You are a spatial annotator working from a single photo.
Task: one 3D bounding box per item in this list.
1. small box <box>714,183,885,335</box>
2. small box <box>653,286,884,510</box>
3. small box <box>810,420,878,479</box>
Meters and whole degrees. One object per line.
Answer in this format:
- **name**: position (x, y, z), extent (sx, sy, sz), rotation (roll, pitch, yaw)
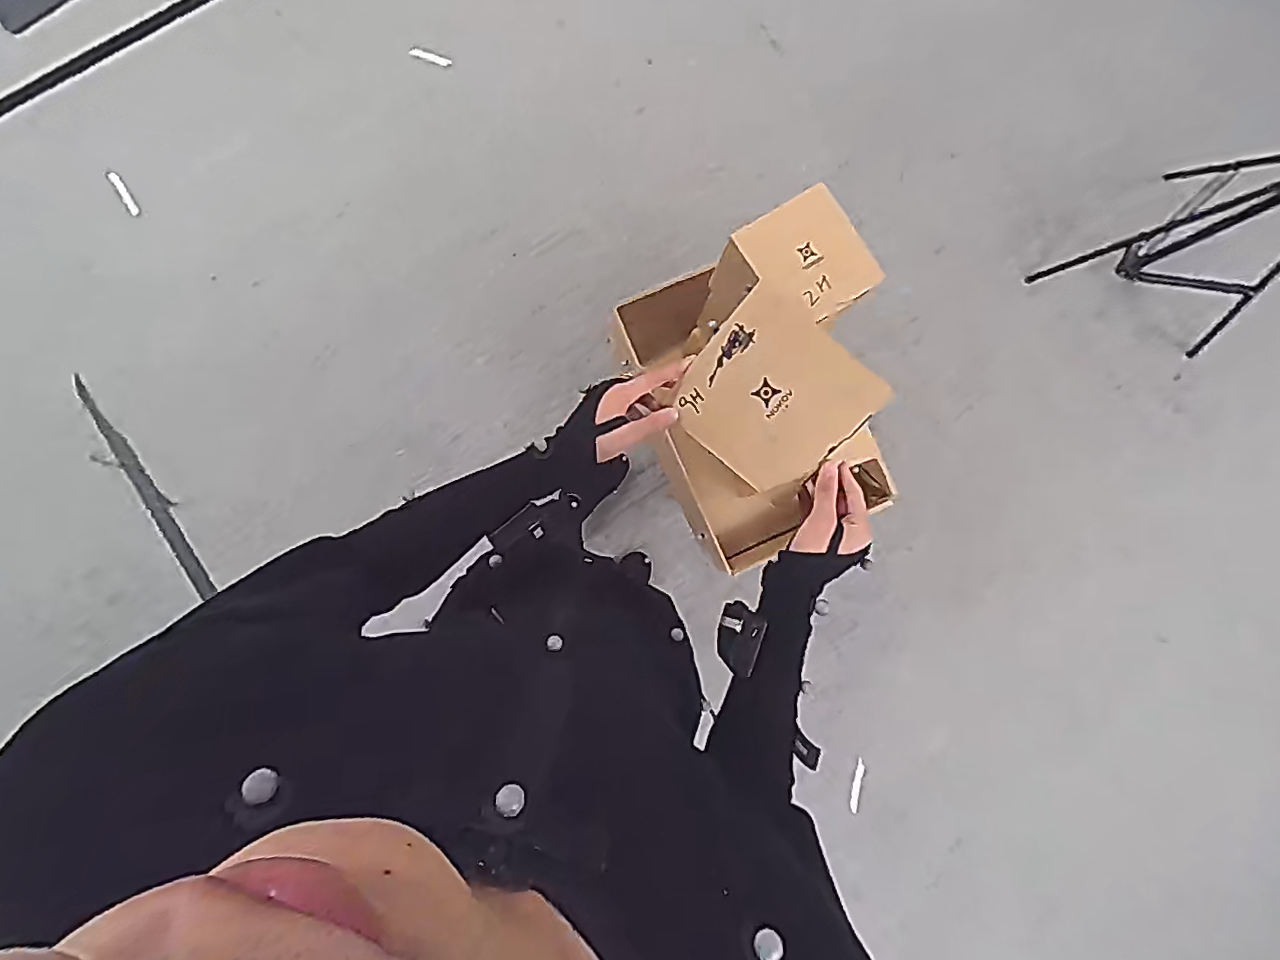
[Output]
- **small box**: position (0.237, -0.314, 0.856), extent (0.168, 0.176, 0.179), rotation (-32, 89, -4)
- **small box**: position (0.140, -0.097, 0.630), extent (0.179, 0.176, 0.168), rotation (40, 104, -2)
- **small box**: position (0.301, -0.085, 1.011), extent (0.179, 0.176, 0.168), rotation (-20, 86, -5)
